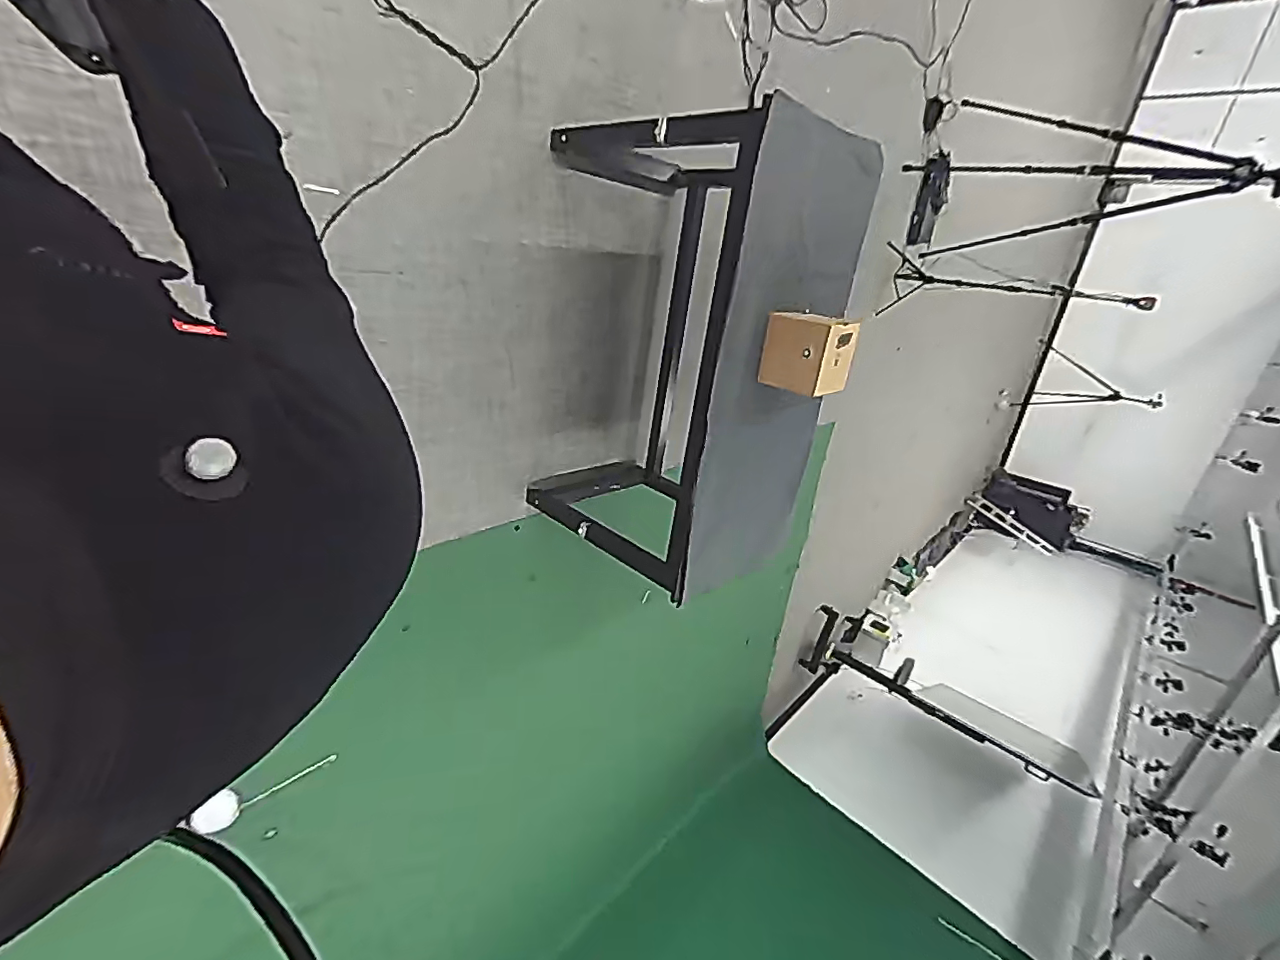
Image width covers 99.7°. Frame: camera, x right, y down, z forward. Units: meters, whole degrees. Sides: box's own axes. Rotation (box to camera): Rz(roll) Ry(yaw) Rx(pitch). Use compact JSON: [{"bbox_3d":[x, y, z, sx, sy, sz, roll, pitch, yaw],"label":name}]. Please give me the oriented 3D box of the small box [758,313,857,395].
[{"bbox_3d":[0.422,-0.328,1.379,0.168,0.176,0.179,-17,124,-43],"label":"small box"}]
